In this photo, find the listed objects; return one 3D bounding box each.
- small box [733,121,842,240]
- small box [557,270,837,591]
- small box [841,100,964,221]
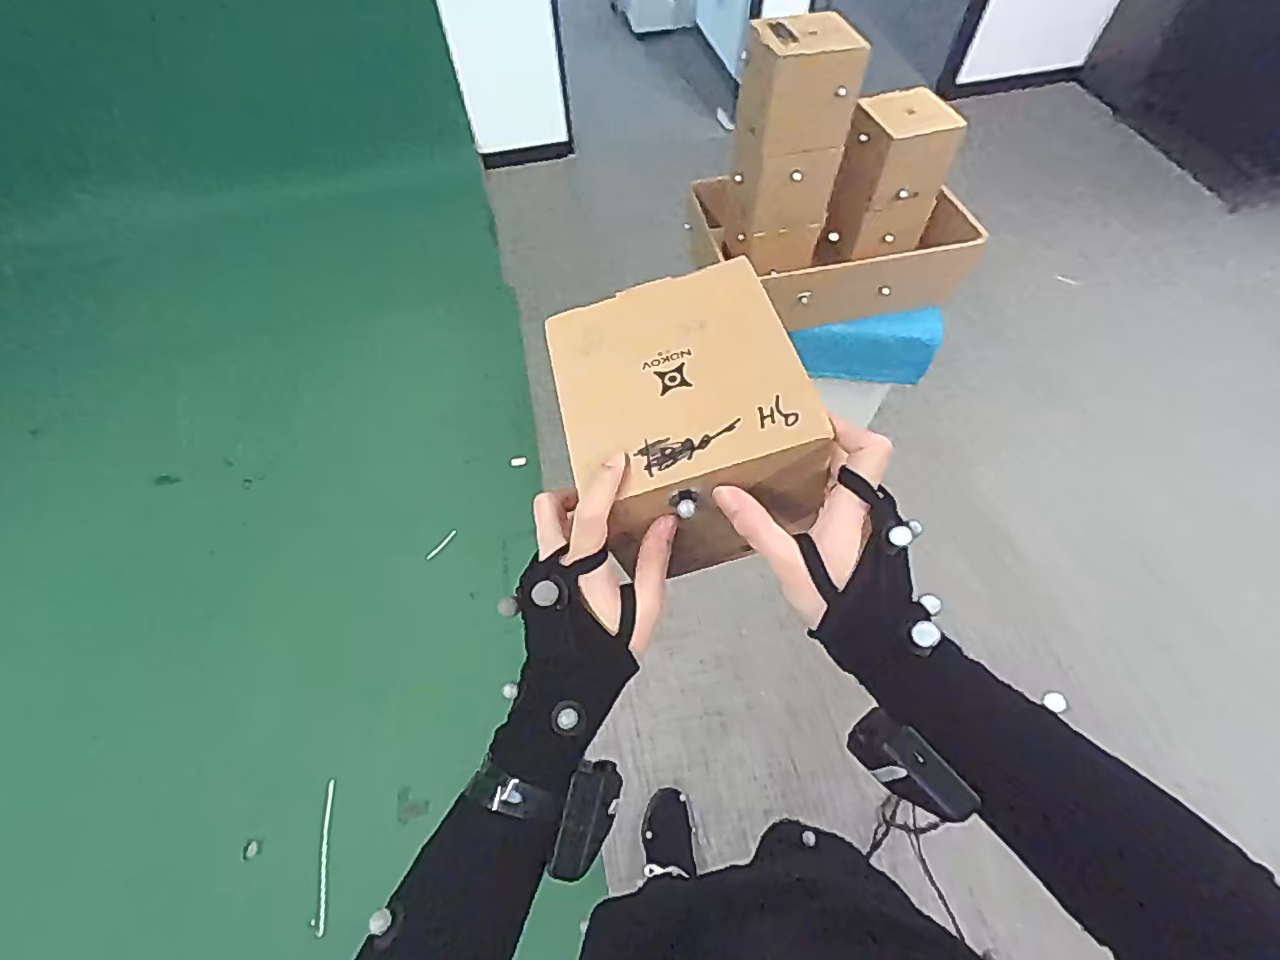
[{"bbox_3d":[0.311,-0.655,1.193,0.179,0.176,0.168,-12,58,-6],"label":"small box"},{"bbox_3d":[0.043,-0.032,0.446,0.168,0.176,0.179,-16,58,5],"label":"small box"},{"bbox_3d":[0.579,-0.720,1.223,0.168,0.176,0.179,-13,58,-4],"label":"small box"}]
